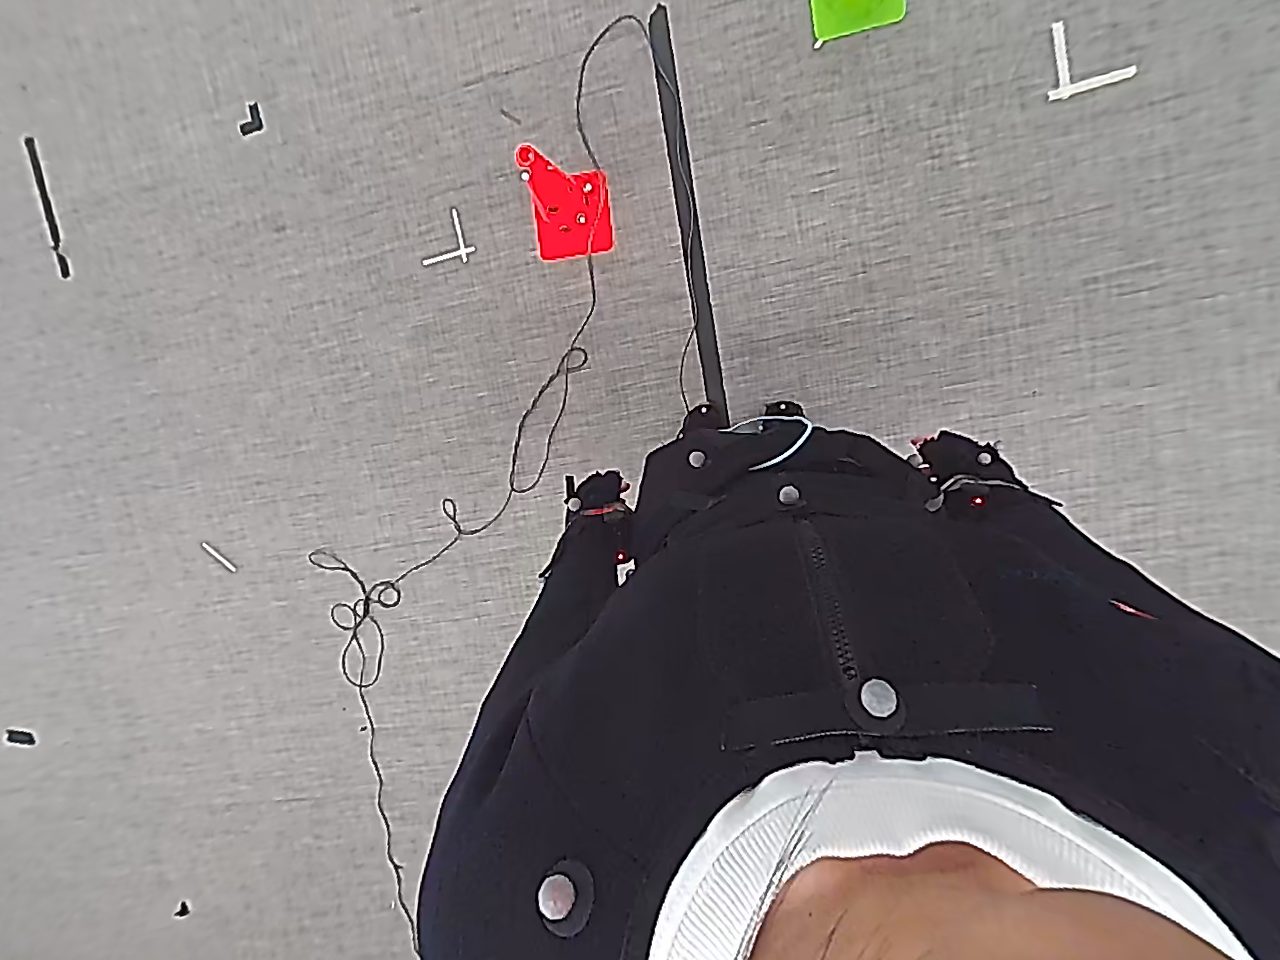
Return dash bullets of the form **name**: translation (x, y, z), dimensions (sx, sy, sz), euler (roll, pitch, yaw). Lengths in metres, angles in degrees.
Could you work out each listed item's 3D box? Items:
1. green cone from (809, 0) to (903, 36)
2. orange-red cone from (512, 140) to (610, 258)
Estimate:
- **green cone**: translation (0.458, -1.098, 1.047), dimensions (0.202, 0.368, 0.200), euler (-9, 97, 8)
- **orange-red cone**: translation (-0.204, -0.654, 1.211), dimensions (0.199, 0.360, 0.198), euler (-4, 96, 10)
